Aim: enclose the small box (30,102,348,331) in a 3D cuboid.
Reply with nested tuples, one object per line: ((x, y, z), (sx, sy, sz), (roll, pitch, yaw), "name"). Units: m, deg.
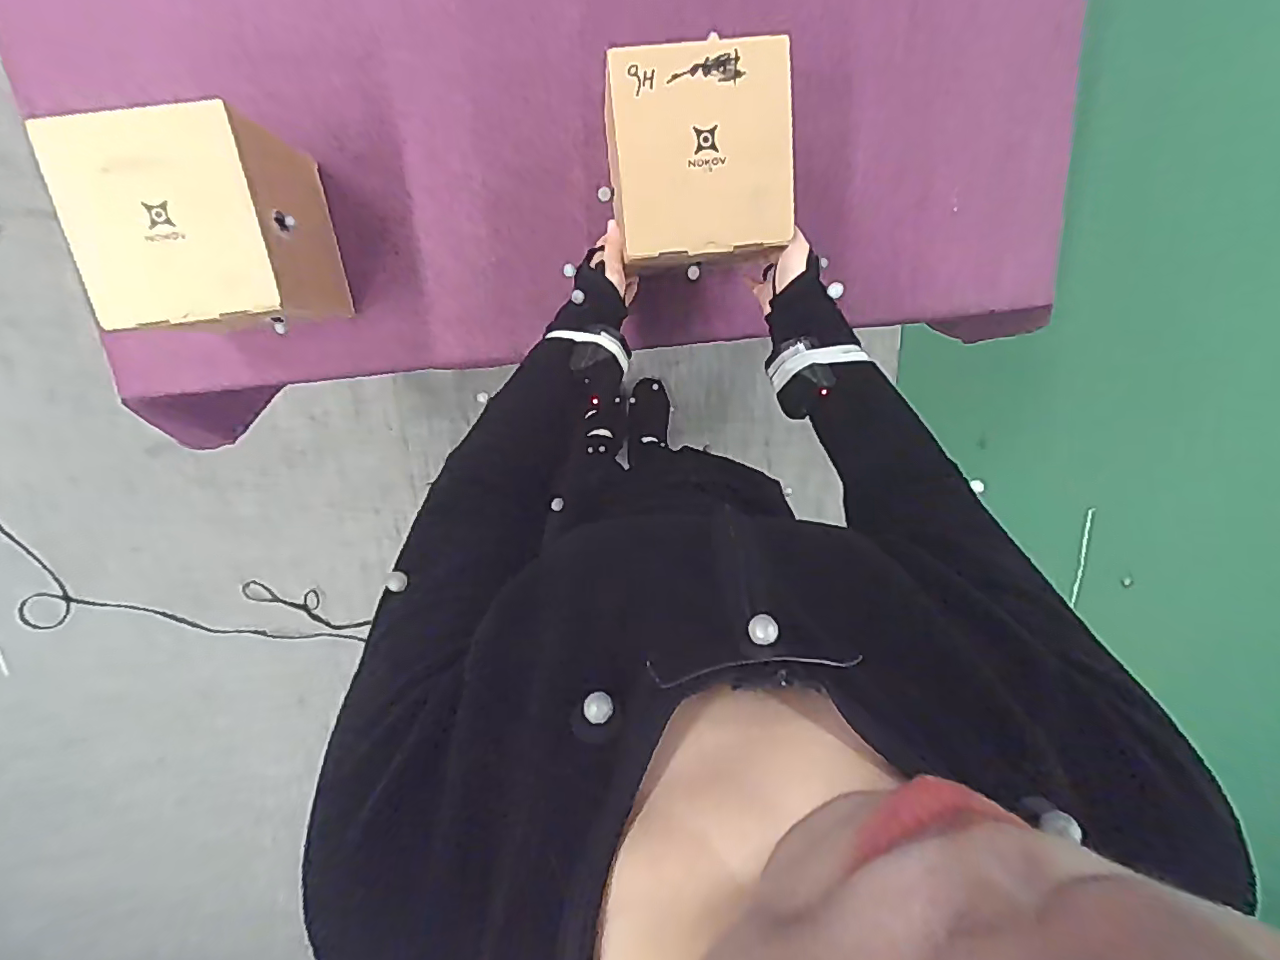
((-0.432, -0.253, 0.559), (0.168, 0.176, 0.179), (-8, 105, -4), "small box")

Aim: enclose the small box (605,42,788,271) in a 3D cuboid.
((0.052, -0.325, 0.581), (0.168, 0.176, 0.179), (-7, 106, -3), "small box")
